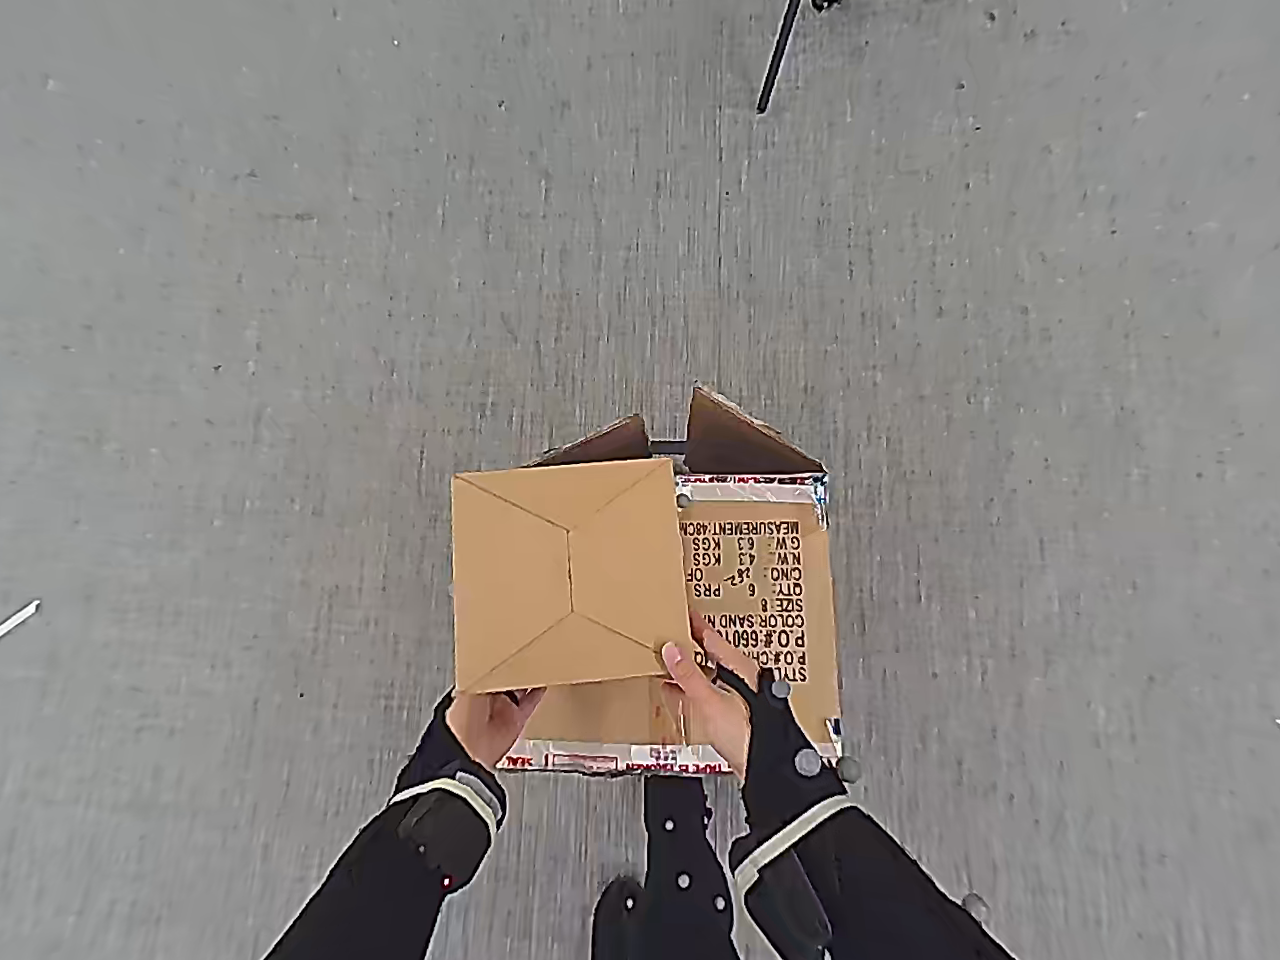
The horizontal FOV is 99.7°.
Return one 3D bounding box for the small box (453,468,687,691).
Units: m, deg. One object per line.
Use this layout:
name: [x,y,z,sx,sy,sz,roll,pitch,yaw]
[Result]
small box: [-0.057,0.088,0.497,0.179,0.176,0.168,-5,79,-4]
